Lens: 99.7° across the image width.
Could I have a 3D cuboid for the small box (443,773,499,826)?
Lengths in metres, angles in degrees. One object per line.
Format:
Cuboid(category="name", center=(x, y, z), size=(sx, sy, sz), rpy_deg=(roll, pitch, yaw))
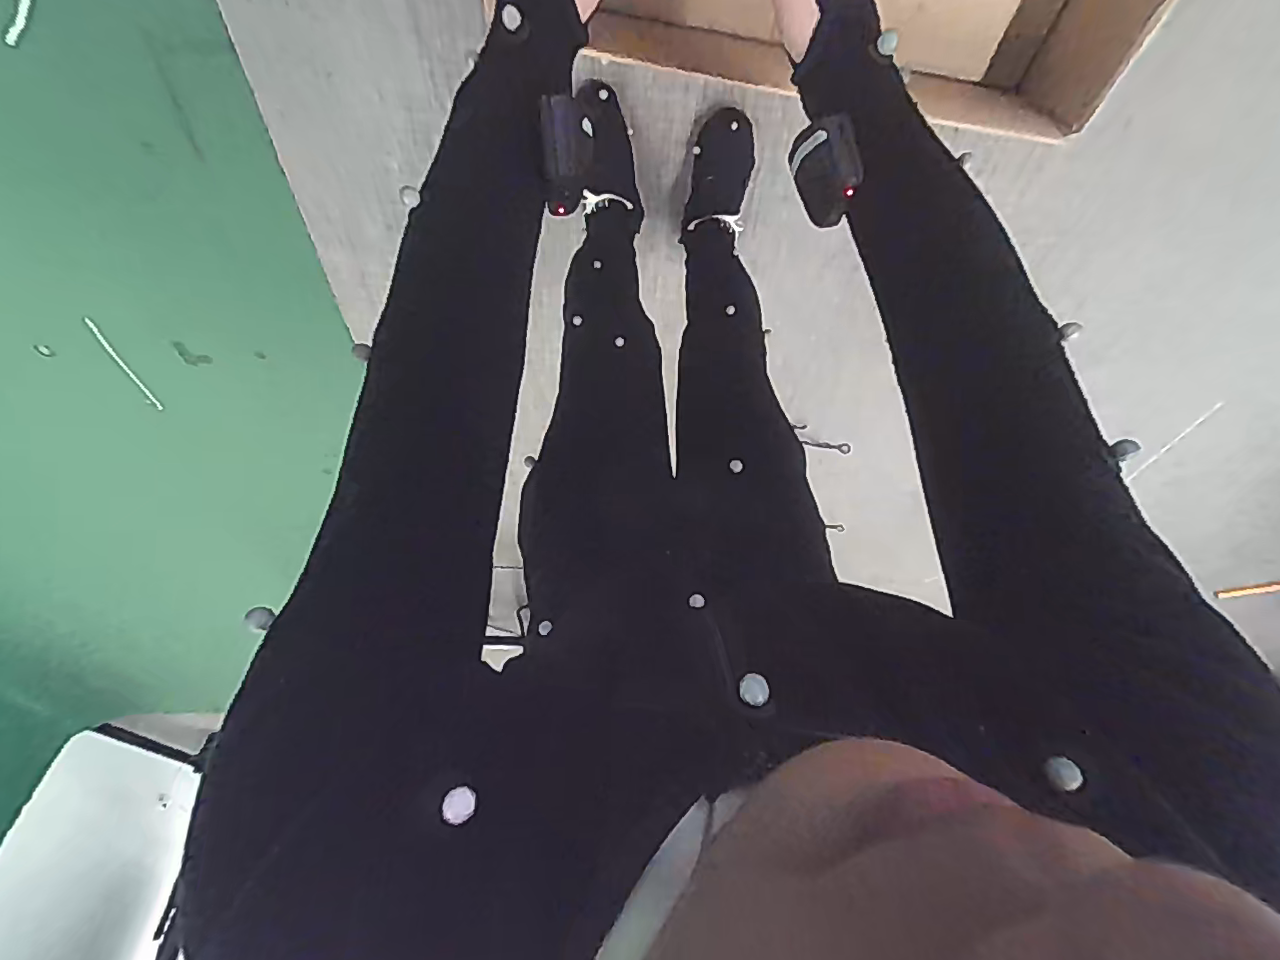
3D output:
Cuboid(category="small box", center=(-0.671, 1.281, 2.170), size=(0.168, 0.176, 0.179), rpy_deg=(0, 141, -2))
